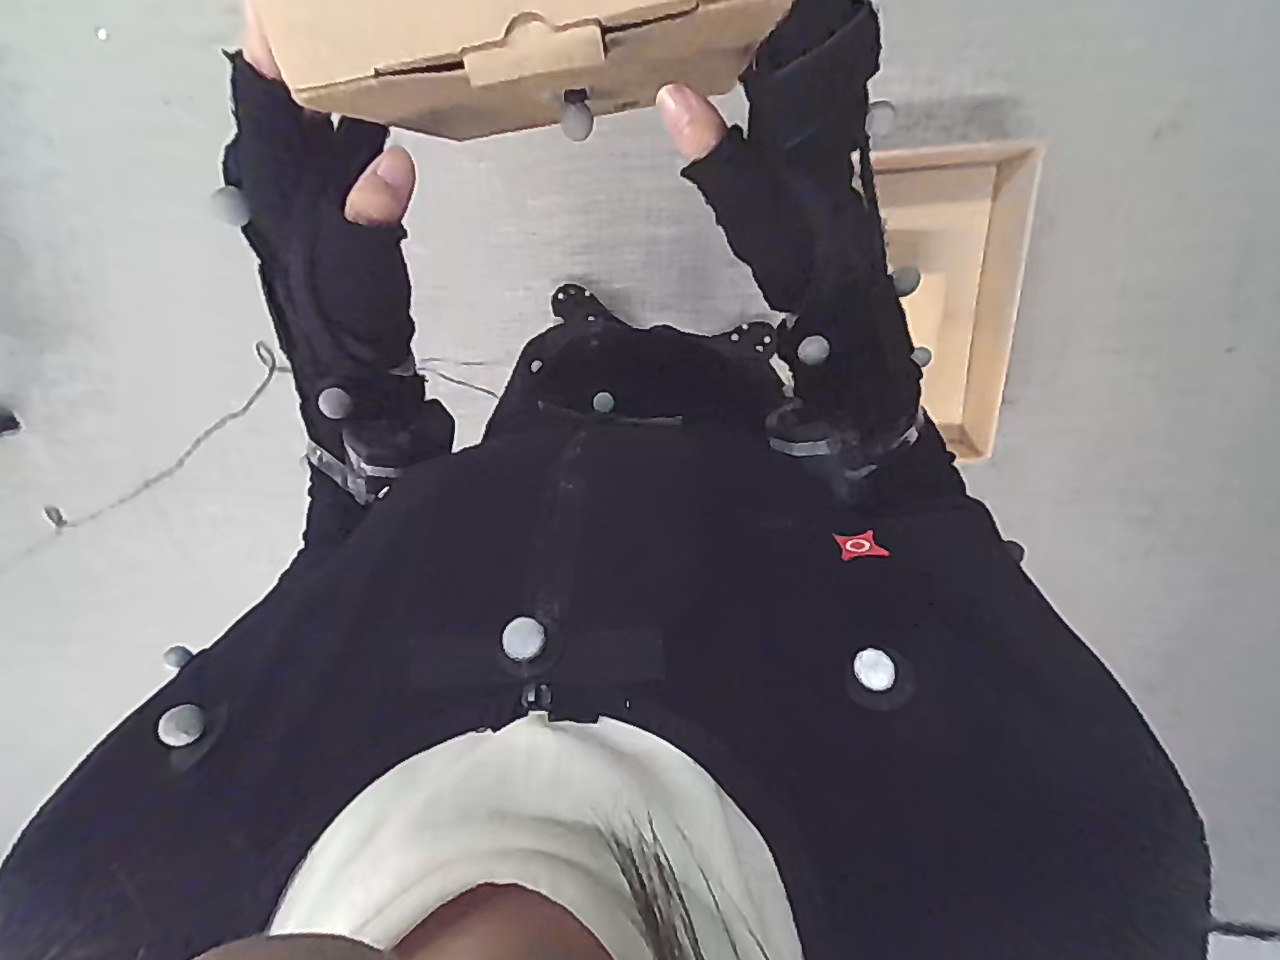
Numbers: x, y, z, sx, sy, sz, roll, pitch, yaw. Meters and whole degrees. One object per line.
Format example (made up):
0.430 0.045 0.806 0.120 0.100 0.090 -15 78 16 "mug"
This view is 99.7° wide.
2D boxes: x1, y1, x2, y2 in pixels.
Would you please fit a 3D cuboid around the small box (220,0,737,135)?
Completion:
-0.057 -0.246 0.207 0.168 0.176 0.179 -7 119 6 "small box"

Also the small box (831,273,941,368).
0.515 -0.345 1.160 0.168 0.176 0.179 -1 111 6 "small box"
